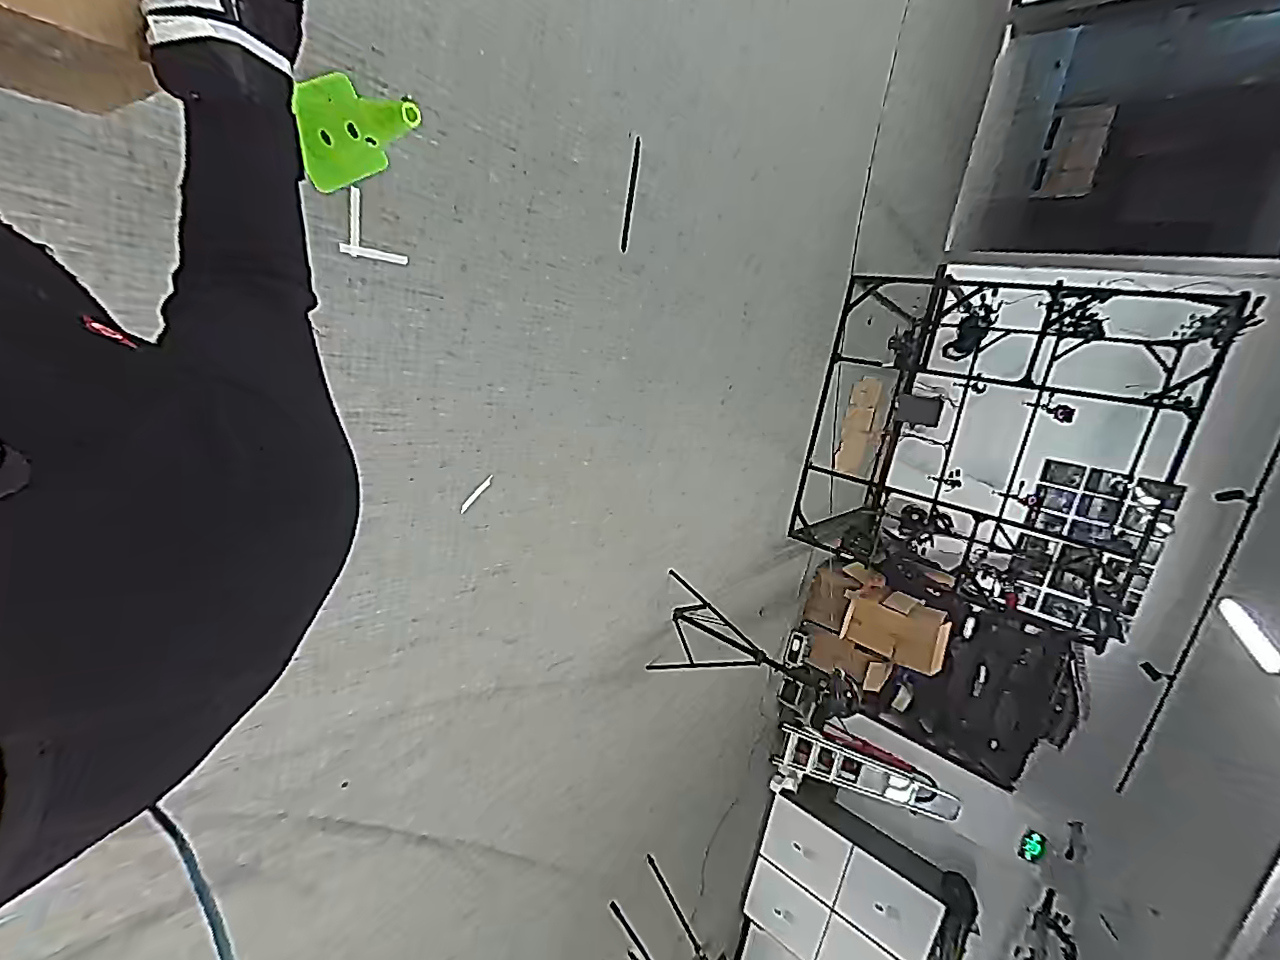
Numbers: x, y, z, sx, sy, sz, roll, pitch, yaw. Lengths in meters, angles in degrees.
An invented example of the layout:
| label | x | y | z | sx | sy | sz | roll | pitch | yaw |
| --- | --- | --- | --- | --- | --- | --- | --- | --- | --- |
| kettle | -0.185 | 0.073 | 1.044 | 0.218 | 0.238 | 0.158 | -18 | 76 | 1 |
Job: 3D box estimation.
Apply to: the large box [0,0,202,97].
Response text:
| label | x | y | z | sx | sy | sz | roll | pitch | yaw |
| --- | --- | --- | --- | --- | --- | --- | --- | --- | --- |
| large box | -0.524 | -0.454 | 0.264 | 0.408 | 0.320 | 0.320 | -13 | 118 | -52 |

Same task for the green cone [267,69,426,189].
| label | x | y | z | sx | sy | sz | roll | pitch | yaw |
| --- | --- | --- | --- | --- | --- | --- | --- | --- | --- |
| green cone | -0.574 | -0.755 | 1.143 | 0.202 | 0.368 | 0.200 | -49 | 140 | -30 |
